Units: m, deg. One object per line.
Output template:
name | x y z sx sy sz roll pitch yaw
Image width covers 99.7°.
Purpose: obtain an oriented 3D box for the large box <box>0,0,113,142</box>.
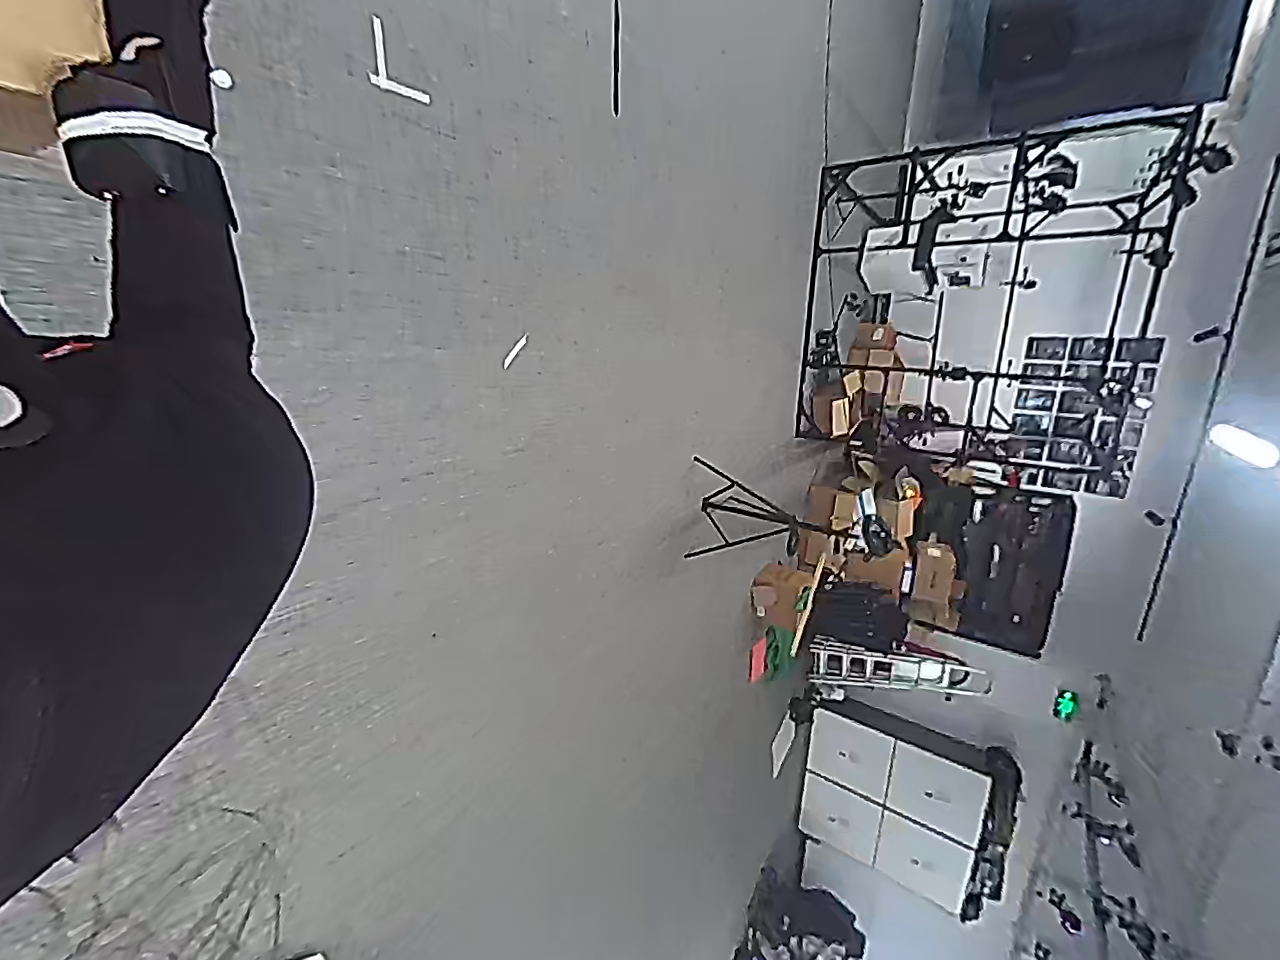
large box | -0.593 -0.399 0.255 0.408 0.320 0.320 -19 121 -53
